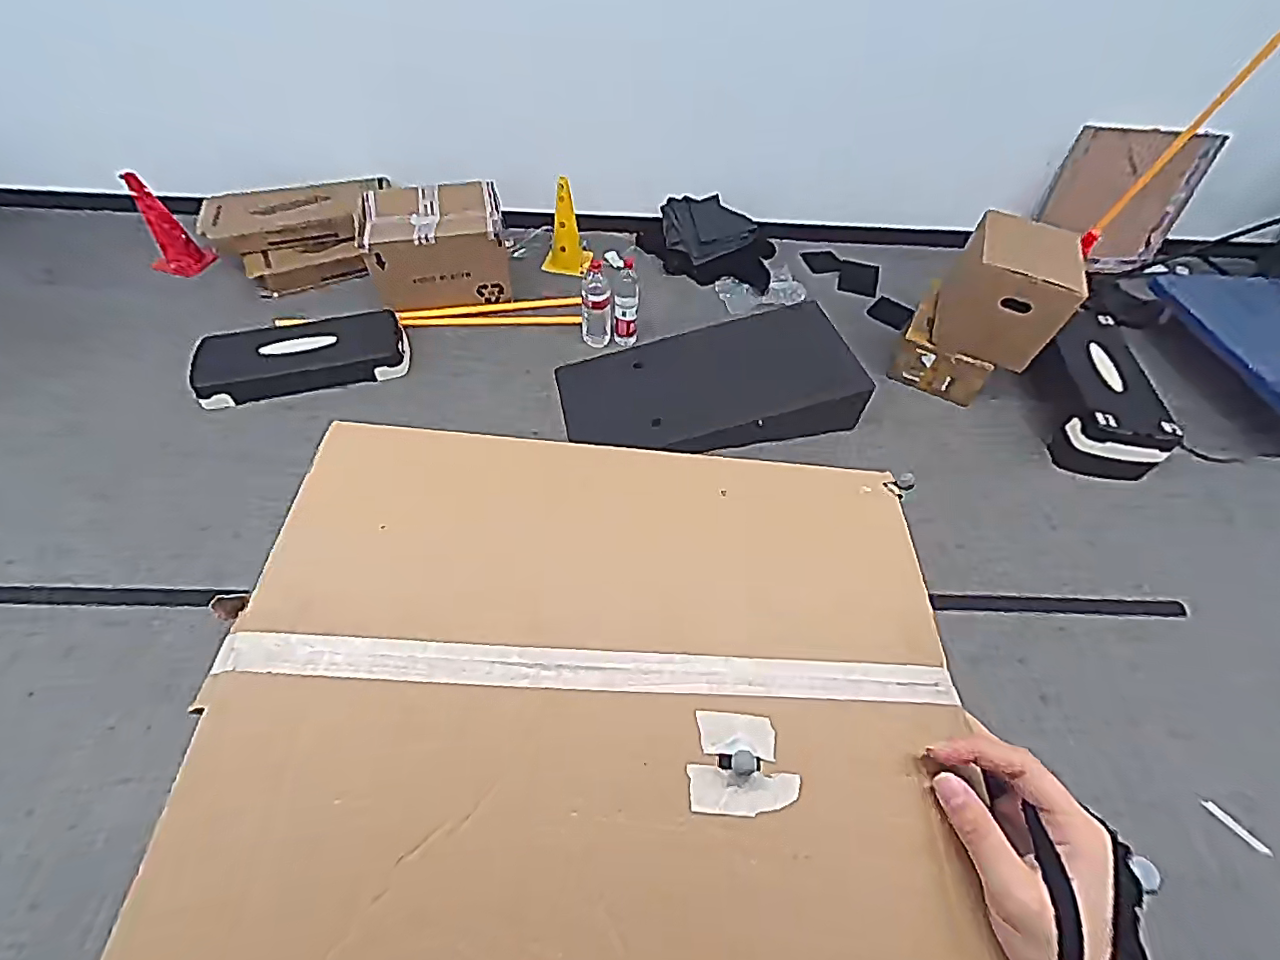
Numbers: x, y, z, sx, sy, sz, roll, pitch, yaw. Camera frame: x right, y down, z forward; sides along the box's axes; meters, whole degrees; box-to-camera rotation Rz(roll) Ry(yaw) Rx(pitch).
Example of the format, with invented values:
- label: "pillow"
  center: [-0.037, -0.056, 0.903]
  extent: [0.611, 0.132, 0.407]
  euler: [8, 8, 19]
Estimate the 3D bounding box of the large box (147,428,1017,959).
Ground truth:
- label: "large box"
  center: [-0.030, 0.188, 0.442]
  extent: [0.408, 0.320, 0.320]
  euler: [6, 57, -6]
